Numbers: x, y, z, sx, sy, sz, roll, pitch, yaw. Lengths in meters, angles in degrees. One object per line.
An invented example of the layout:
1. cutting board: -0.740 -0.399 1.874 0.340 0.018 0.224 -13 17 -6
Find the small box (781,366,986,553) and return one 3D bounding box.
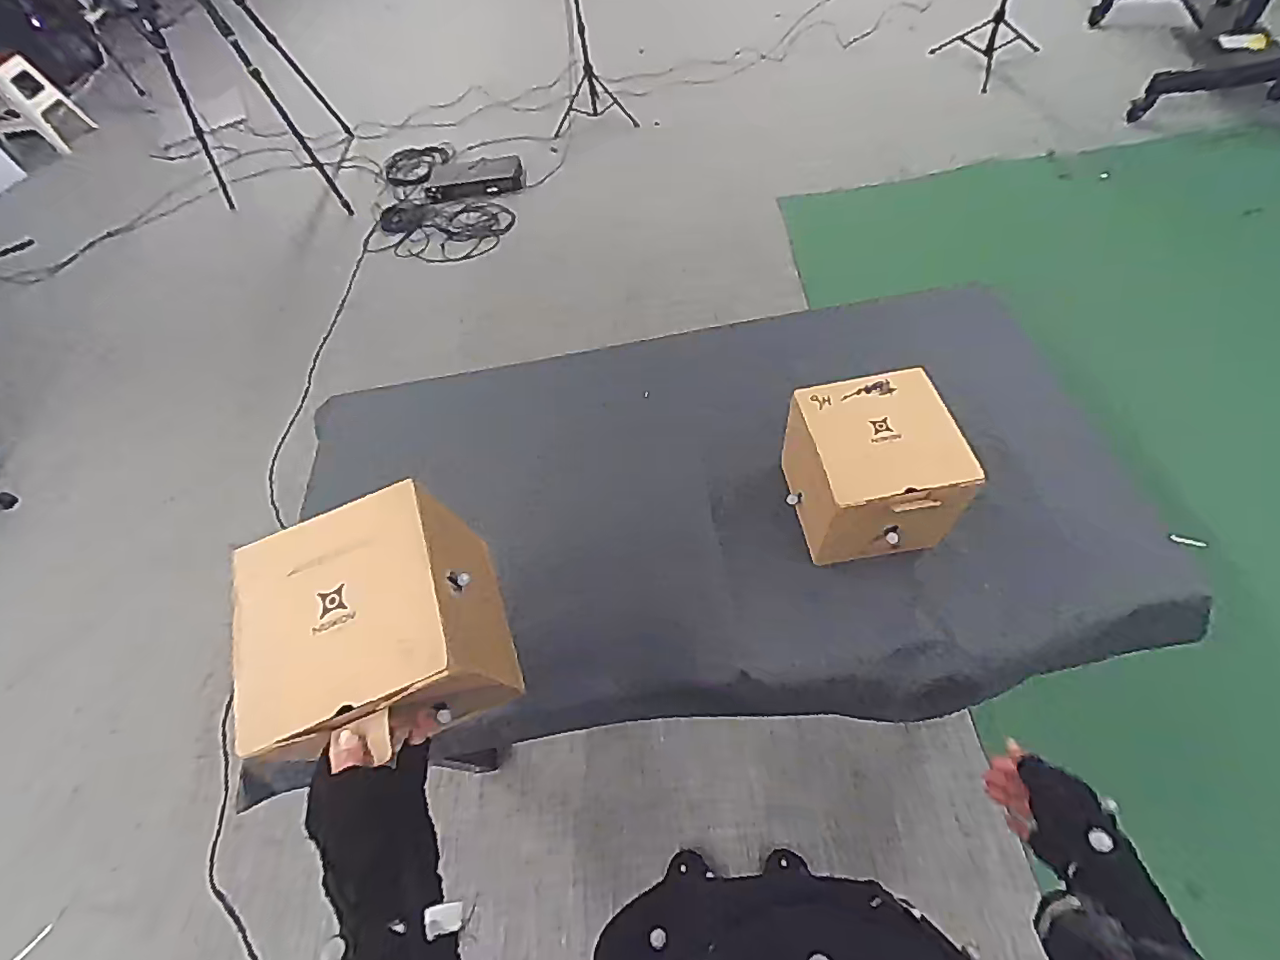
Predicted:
1. small box: 0.295 -0.017 0.701 0.168 0.176 0.179 -9 58 -1

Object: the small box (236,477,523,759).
1. small box: -0.225 0.132 0.495 0.168 0.176 0.179 -24 61 -3
